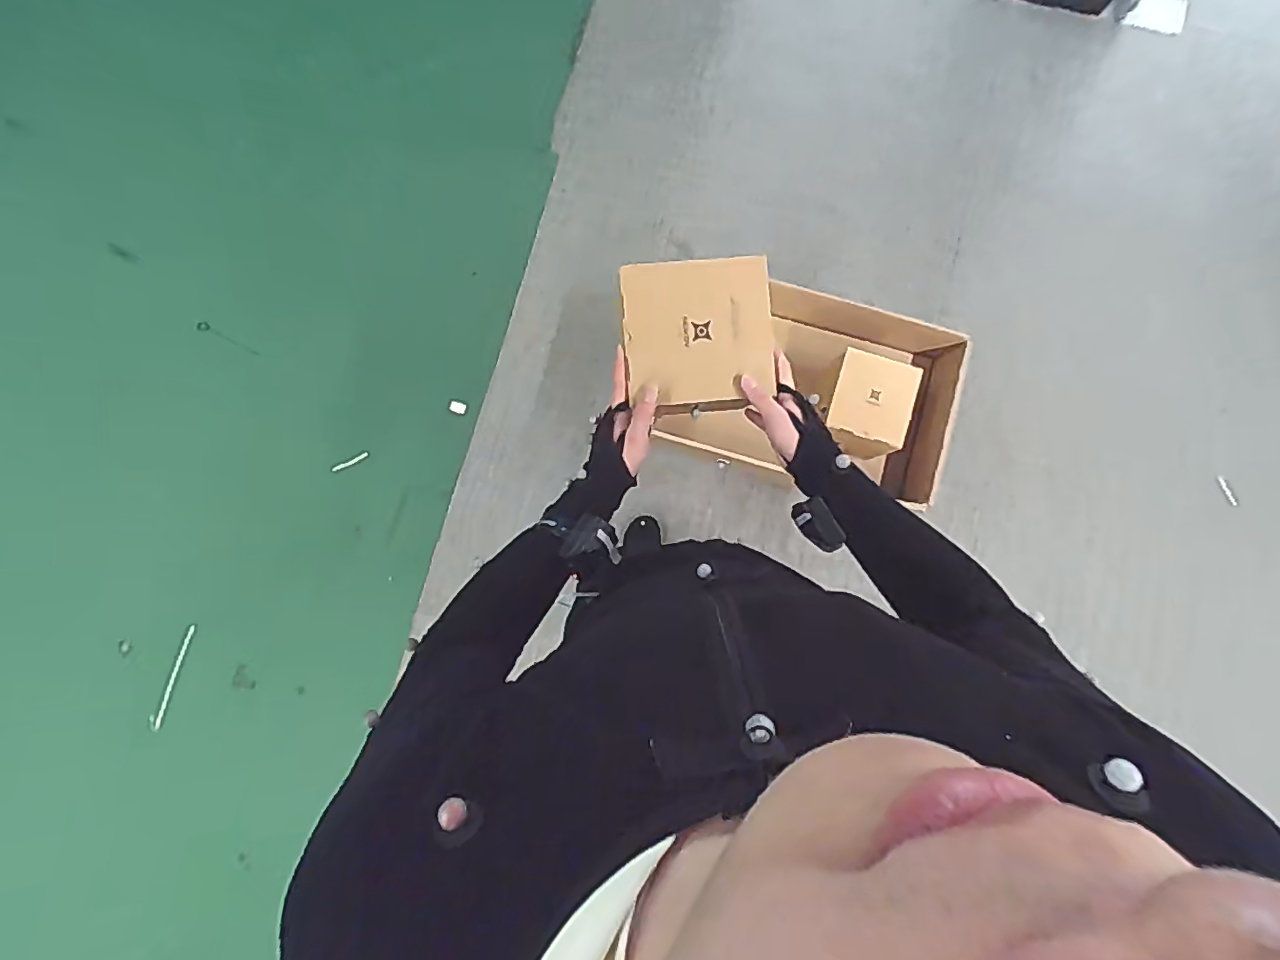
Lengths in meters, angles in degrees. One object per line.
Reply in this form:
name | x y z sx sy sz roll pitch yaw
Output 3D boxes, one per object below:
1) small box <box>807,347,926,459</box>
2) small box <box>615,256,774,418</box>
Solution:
small box | 0.482 -0.159 1.179 0.168 0.176 0.179 18 85 1
small box | 0.061 -0.174 0.703 0.179 0.176 0.168 -5 92 -3
